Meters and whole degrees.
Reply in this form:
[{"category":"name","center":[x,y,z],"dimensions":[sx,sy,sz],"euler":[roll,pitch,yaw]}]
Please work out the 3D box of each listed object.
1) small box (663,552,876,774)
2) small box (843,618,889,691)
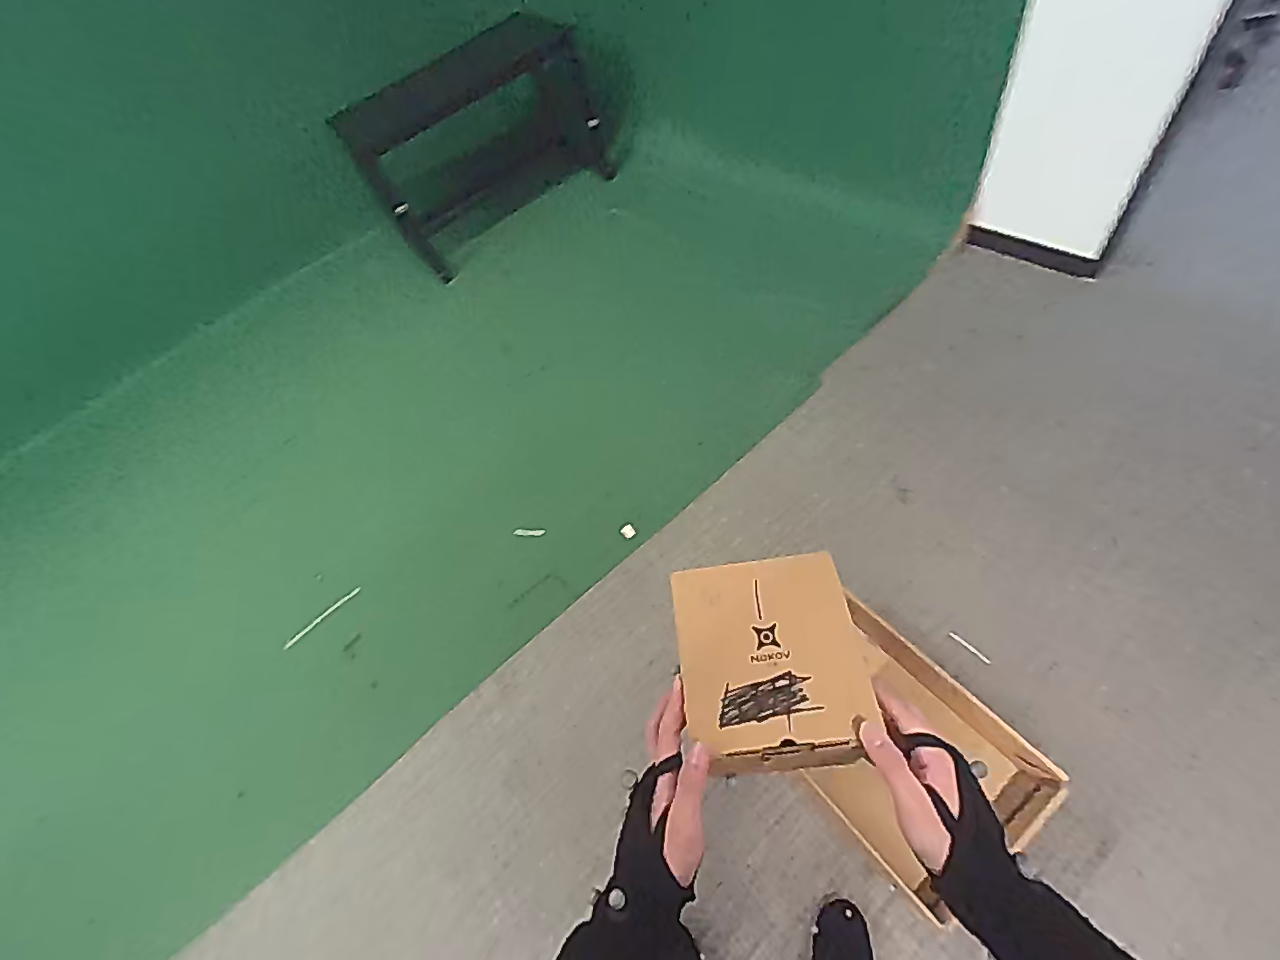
[{"category":"small box","center":[0.121,0.198,0.562],"dimensions":[0.168,0.176,0.179],"euler":[-9,55,4]},{"category":"small box","center":[0.416,0.415,1.203],"dimensions":[0.179,0.176,0.168],"euler":[-40,57,-12]}]
